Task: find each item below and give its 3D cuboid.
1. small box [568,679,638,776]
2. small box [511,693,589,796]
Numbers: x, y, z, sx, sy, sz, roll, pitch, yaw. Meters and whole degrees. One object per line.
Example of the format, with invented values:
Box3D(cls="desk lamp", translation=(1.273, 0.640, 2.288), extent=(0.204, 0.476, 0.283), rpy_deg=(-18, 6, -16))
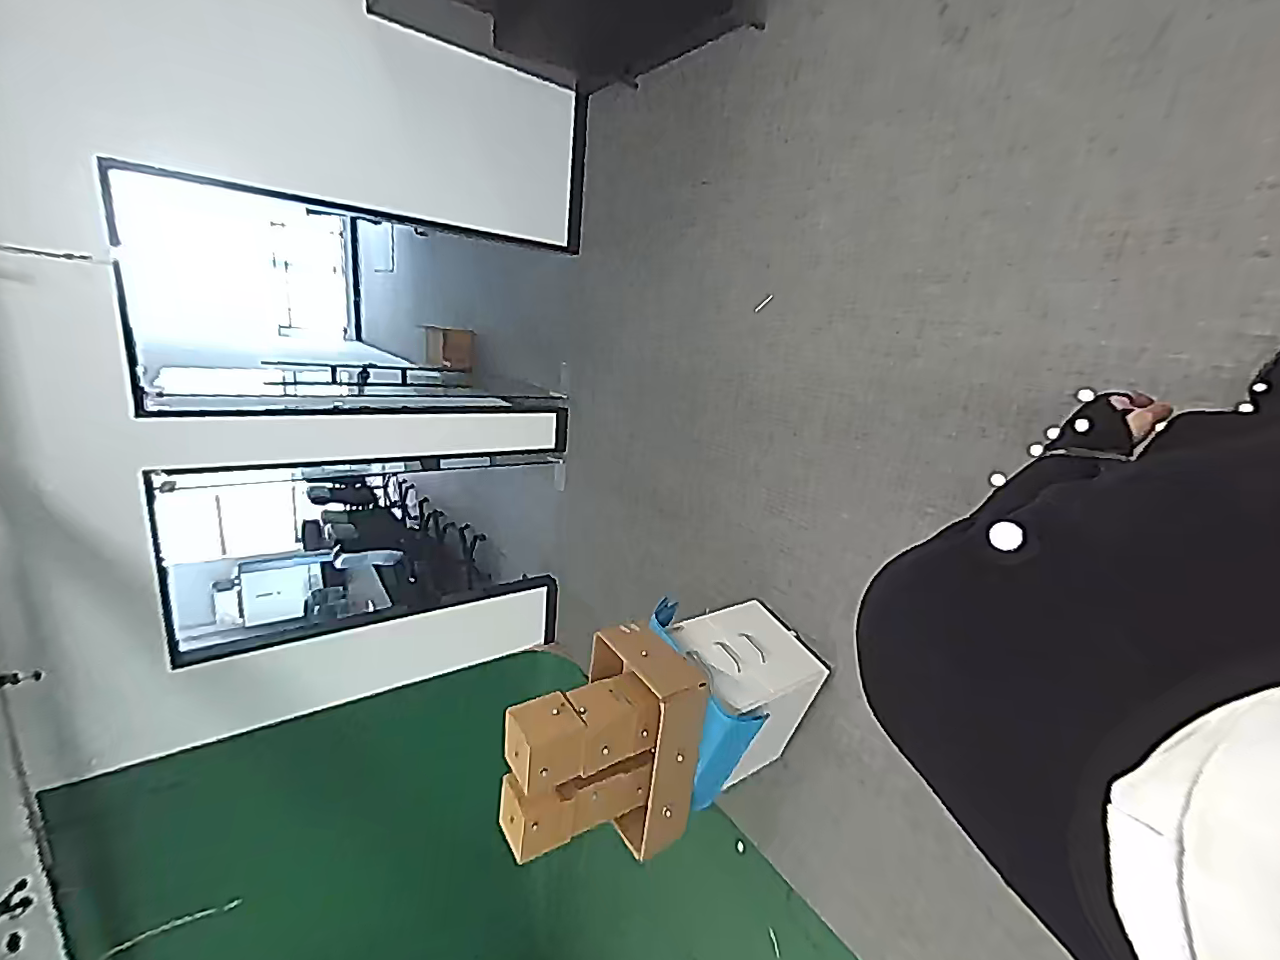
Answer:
Box3D(cls="small box", translation=(-0.119, 0.740, 1.635), extent=(0.168, 0.176, 0.179), rpy_deg=(26, 117, 50))
Box3D(cls="small box", translation=(-0.258, 0.746, 1.544), extent=(0.168, 0.176, 0.179), rpy_deg=(29, 118, 50))
